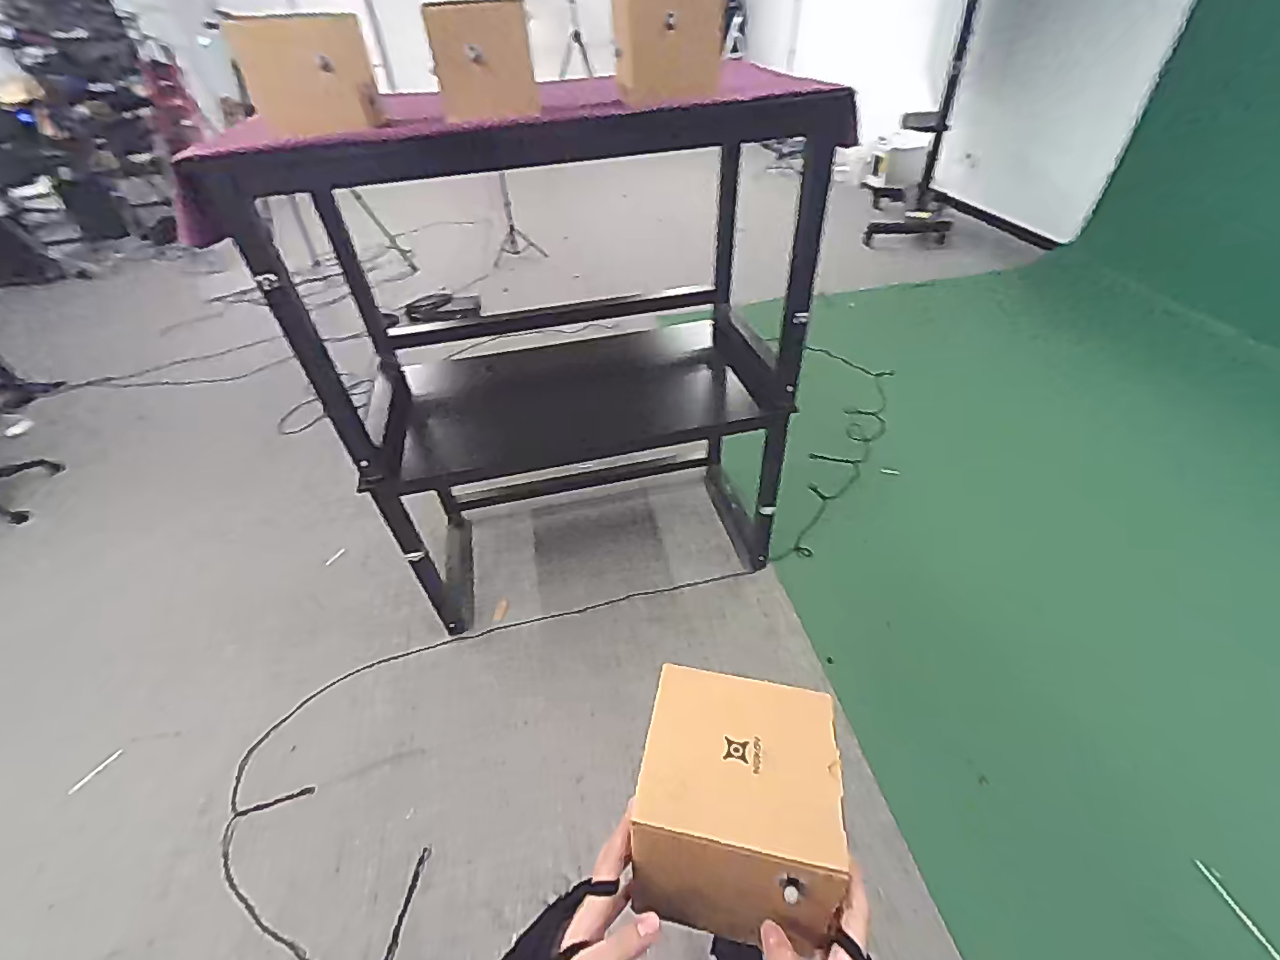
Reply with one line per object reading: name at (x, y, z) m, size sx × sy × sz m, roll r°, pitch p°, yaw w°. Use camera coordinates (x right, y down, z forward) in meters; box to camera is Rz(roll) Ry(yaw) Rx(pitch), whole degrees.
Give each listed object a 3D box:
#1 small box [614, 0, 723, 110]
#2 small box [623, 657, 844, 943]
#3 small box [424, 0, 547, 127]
small box at (0.055, -0.825, 1.034) m, size 0.179 × 0.176 × 0.168 m, roll -11°, pitch 43°, yaw -6°
small box at (0.086, 0.306, 0.528) m, size 0.179 × 0.176 × 0.168 m, roll 8°, pitch 32°, yaw 10°
small box at (-0.276, -0.772, 1.007) m, size 0.179 × 0.176 × 0.168 m, roll -9°, pitch 41°, yaw -4°
